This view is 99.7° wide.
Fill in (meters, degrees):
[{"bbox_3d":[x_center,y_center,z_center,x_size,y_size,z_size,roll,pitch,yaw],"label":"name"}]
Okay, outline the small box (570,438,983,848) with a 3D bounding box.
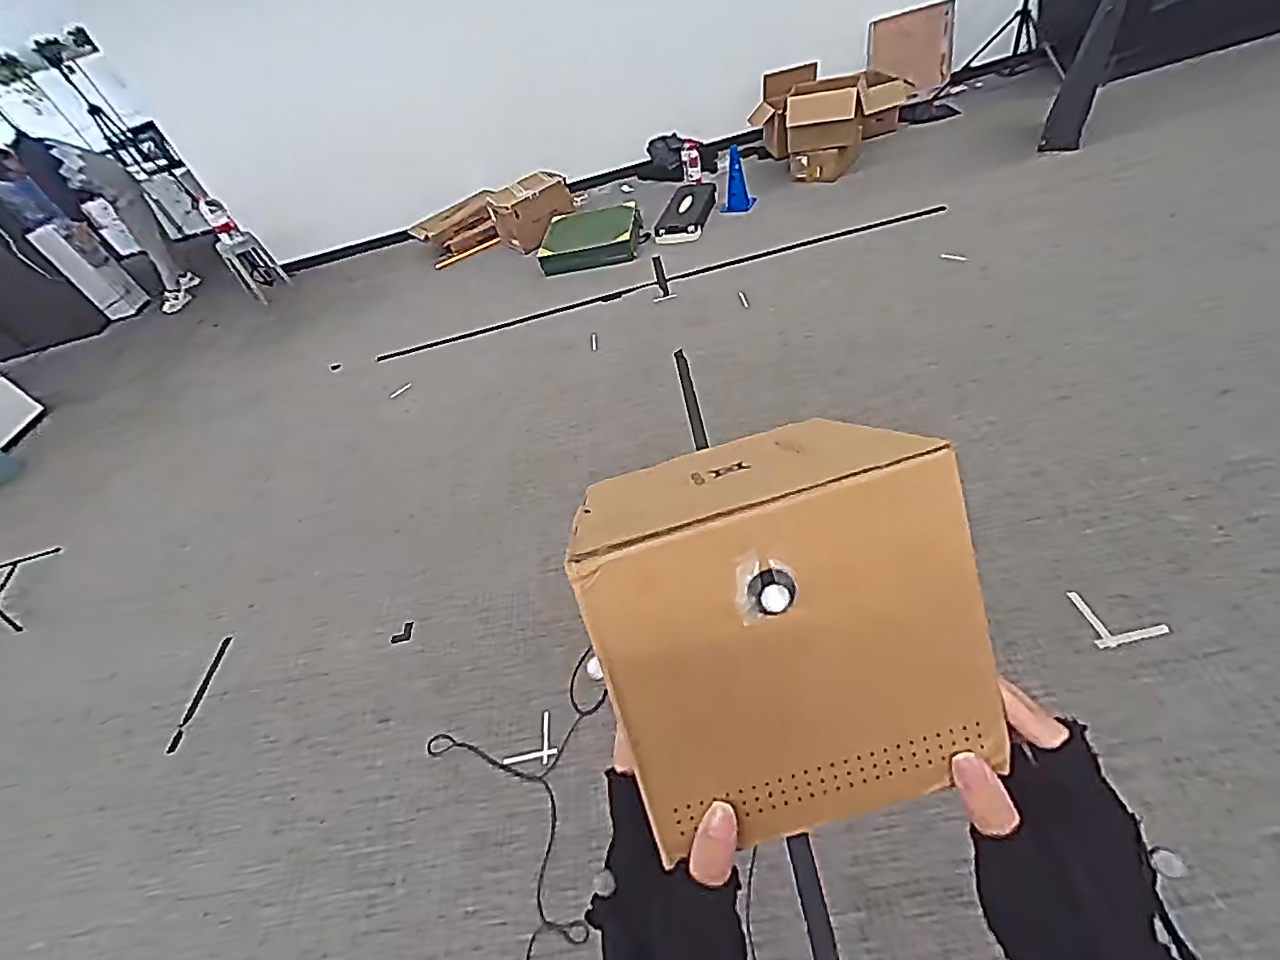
[{"bbox_3d":[0.073,0.084,0.338,0.179,0.176,0.168,-17,10,2],"label":"small box"}]
